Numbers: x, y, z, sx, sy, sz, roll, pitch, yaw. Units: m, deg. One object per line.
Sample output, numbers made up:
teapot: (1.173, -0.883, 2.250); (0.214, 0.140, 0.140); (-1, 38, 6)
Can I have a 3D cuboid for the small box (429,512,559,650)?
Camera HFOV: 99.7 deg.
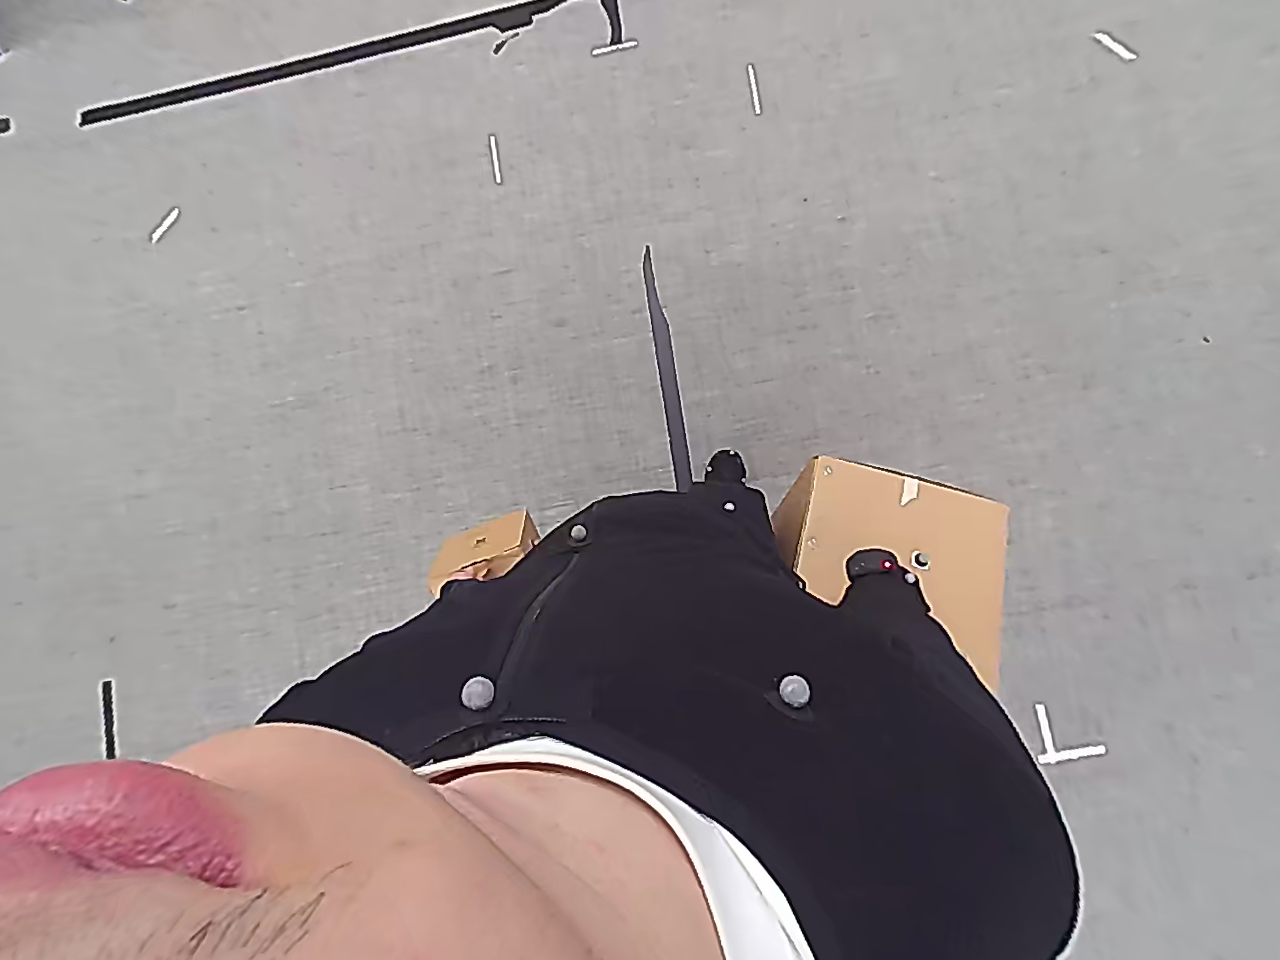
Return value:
small box: (-0.255, 0.187, 0.990); (0.168, 0.179, 0.176); (-20, 108, 0)
